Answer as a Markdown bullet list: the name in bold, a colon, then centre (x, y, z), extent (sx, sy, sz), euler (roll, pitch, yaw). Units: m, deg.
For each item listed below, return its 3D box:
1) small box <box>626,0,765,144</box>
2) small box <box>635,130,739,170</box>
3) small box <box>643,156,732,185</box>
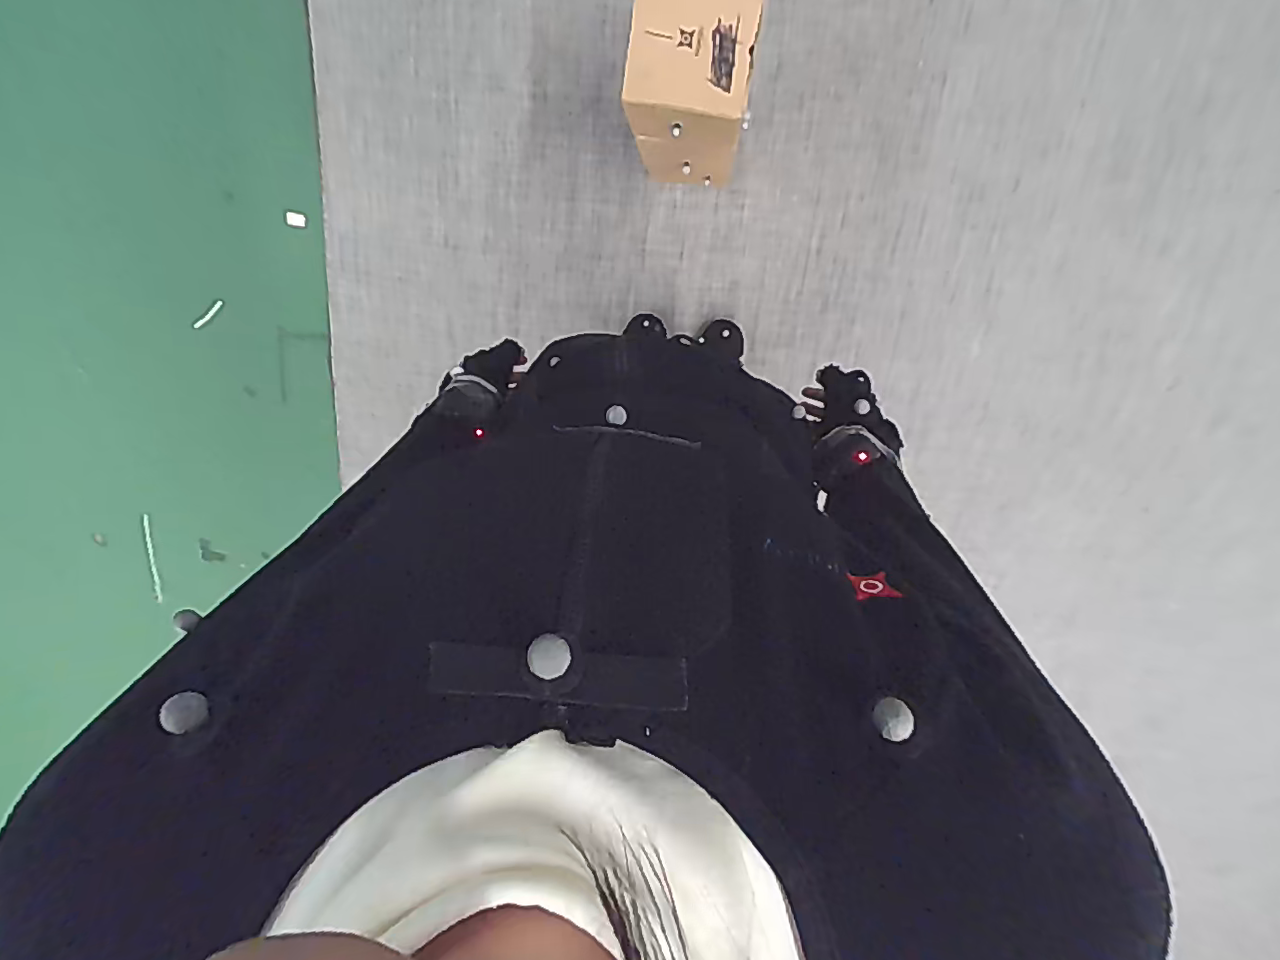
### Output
- **small box**: centre (0.081, -0.629, 0.821), extent (0.179, 0.176, 0.168), euler (8, 108, 3)
- **small box**: centre (0.096, -0.678, 0.977), extent (0.179, 0.176, 0.168), euler (10, 108, 3)
- **small box**: centre (0.111, -0.731, 1.132), extent (0.179, 0.176, 0.168), euler (9, 108, 5)
